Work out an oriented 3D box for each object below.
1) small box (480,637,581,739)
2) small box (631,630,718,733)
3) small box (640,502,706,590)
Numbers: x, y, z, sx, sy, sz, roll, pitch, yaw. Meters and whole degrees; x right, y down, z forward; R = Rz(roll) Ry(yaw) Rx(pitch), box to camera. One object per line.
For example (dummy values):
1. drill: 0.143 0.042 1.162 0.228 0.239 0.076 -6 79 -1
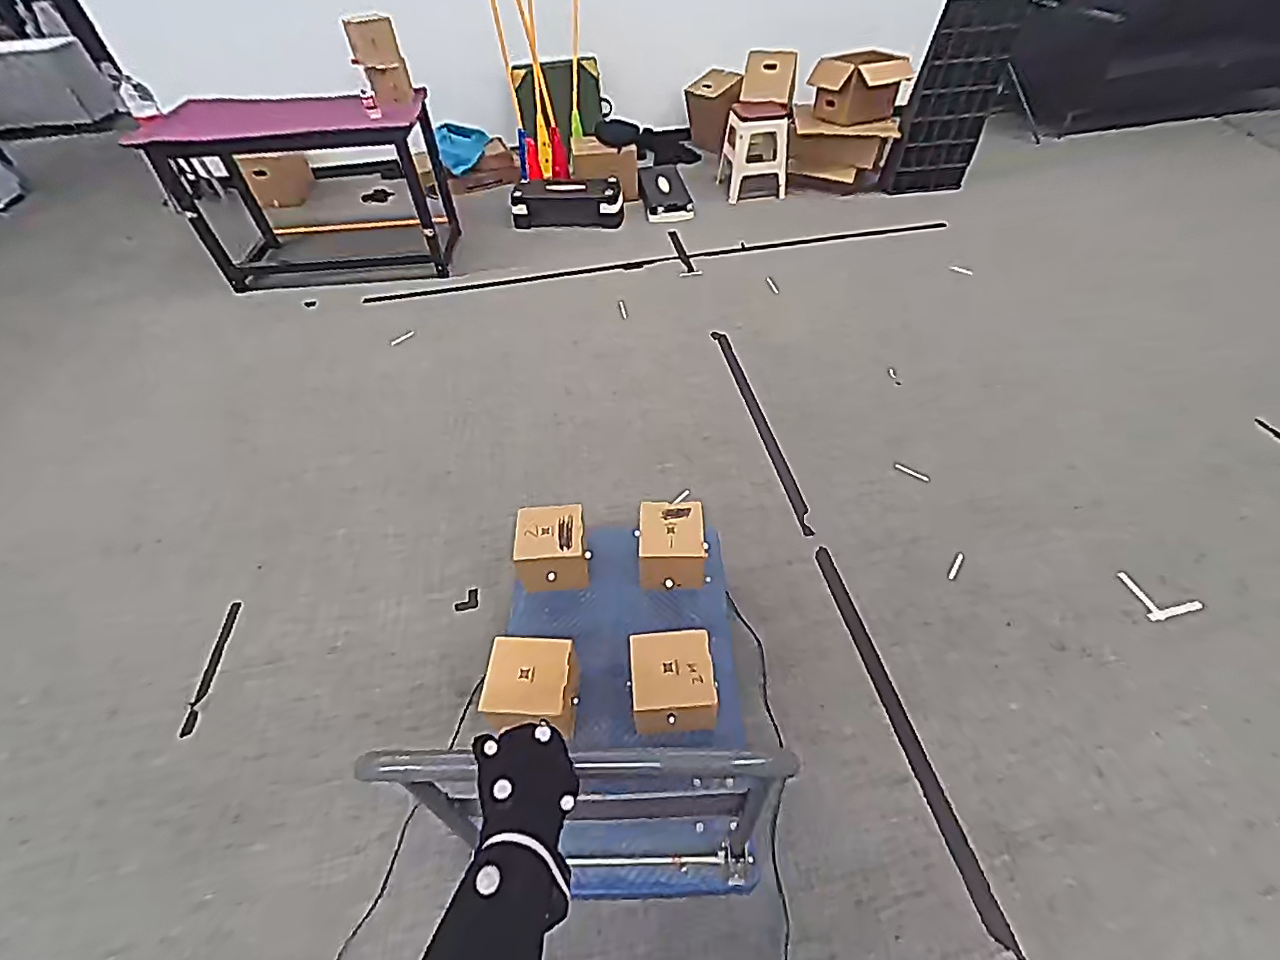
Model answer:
1. small box: -0.235 0.468 1.211 0.179 0.176 0.168 2 48 2
2. small box: 0.075 0.453 1.207 0.179 0.176 0.168 -4 49 0
3. small box: 0.086 0.177 1.451 0.168 0.176 0.179 0 50 2
